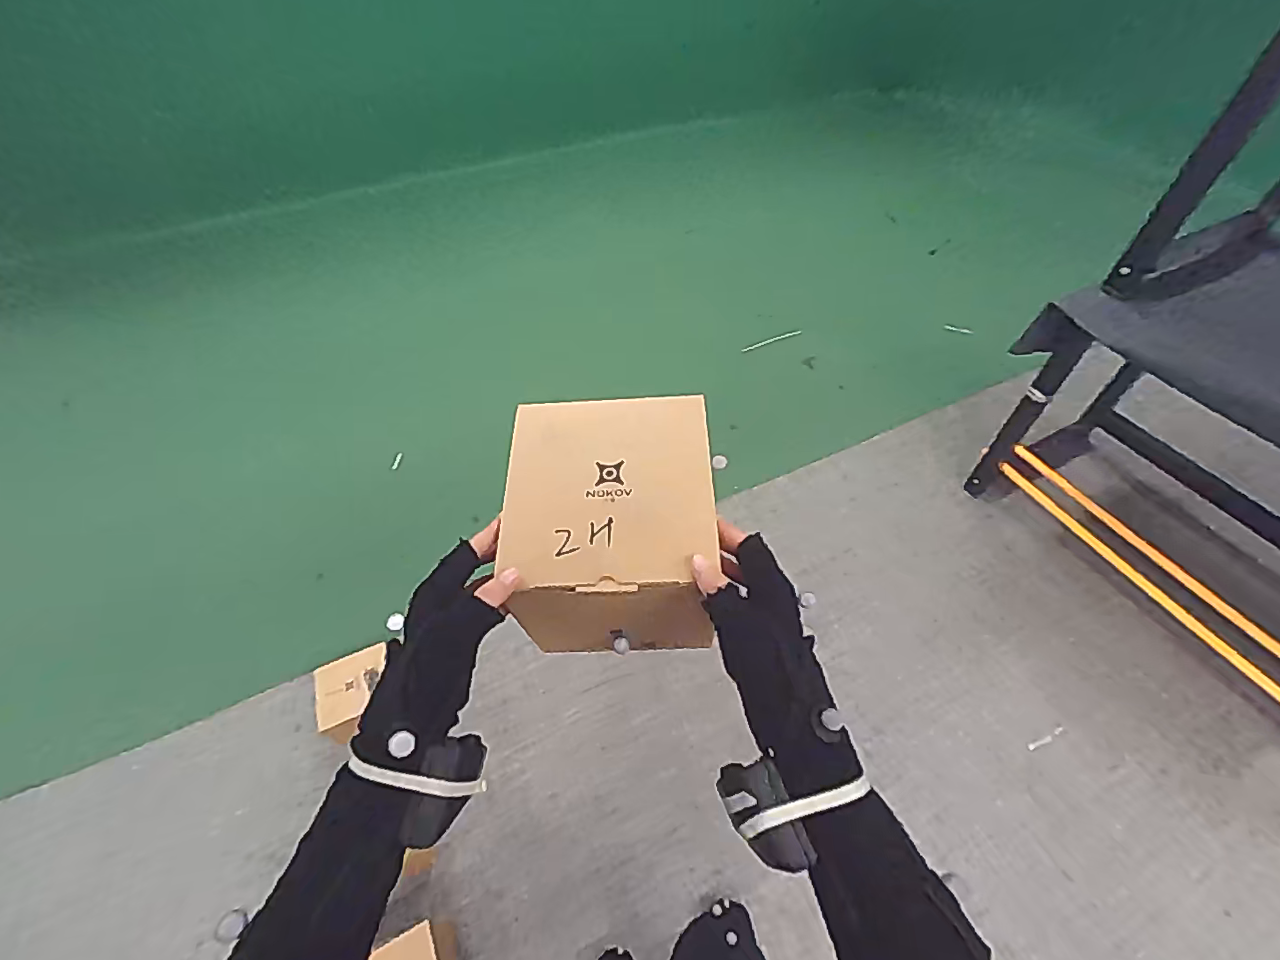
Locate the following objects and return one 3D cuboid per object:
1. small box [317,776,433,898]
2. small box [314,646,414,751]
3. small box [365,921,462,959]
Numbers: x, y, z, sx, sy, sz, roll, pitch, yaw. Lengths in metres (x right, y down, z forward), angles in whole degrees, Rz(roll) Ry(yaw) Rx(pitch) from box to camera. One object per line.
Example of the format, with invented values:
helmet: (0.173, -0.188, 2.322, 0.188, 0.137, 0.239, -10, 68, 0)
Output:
small box: (-0.570, 0.779, 1.175, 0.179, 0.176, 0.168, -16, 51, -12)
small box: (-0.690, 0.554, 1.367, 0.179, 0.176, 0.168, -21, 52, -13)
small box: (-0.435, 0.969, 1.010, 0.179, 0.176, 0.168, -23, 55, -18)
